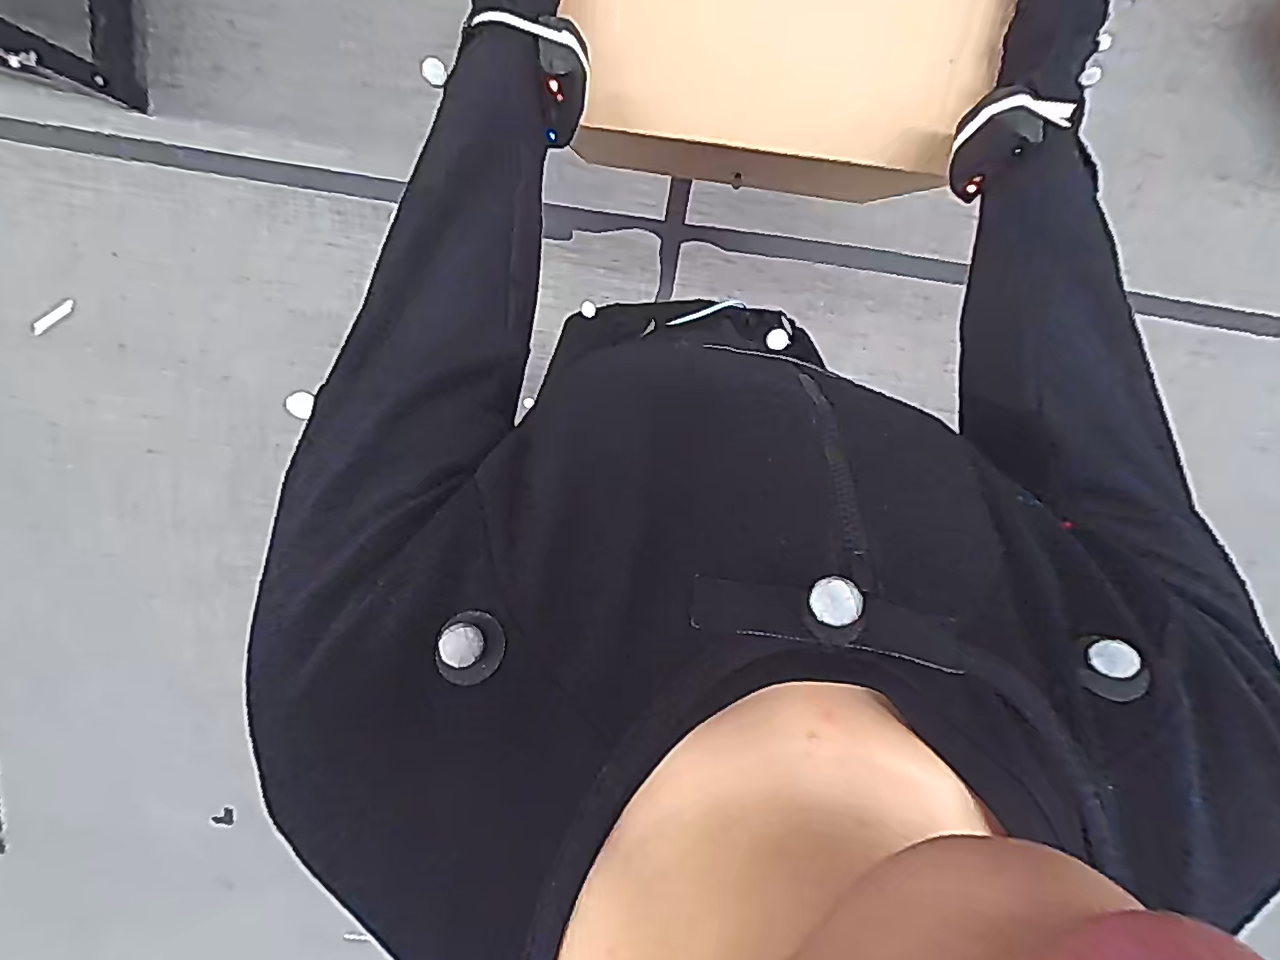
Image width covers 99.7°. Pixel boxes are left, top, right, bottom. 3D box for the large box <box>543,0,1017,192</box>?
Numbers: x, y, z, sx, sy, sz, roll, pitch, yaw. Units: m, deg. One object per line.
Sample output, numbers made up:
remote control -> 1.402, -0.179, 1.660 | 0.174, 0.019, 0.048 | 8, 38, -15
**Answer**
large box -> 0.131, -0.508, 0.576 | 0.408, 0.320, 0.320 | 8, 113, -1
